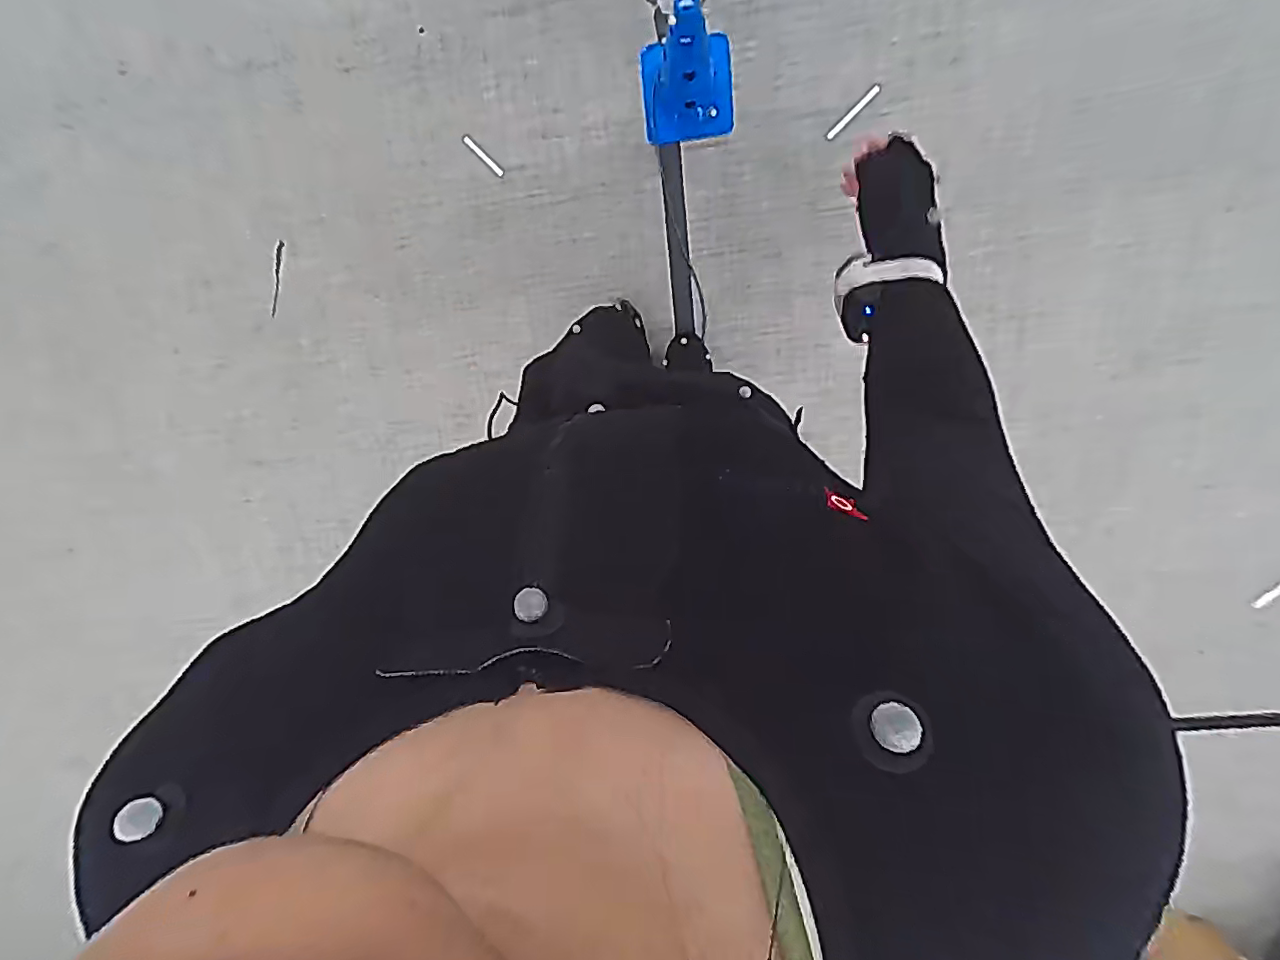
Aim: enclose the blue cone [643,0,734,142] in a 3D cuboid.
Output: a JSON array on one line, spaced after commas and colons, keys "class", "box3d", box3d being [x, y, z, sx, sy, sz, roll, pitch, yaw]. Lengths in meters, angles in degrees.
[{"class": "blue cone", "box3d": [0.094, -0.828, 1.043, 0.193, 0.380, 0.192, -7, 105, 6]}]
